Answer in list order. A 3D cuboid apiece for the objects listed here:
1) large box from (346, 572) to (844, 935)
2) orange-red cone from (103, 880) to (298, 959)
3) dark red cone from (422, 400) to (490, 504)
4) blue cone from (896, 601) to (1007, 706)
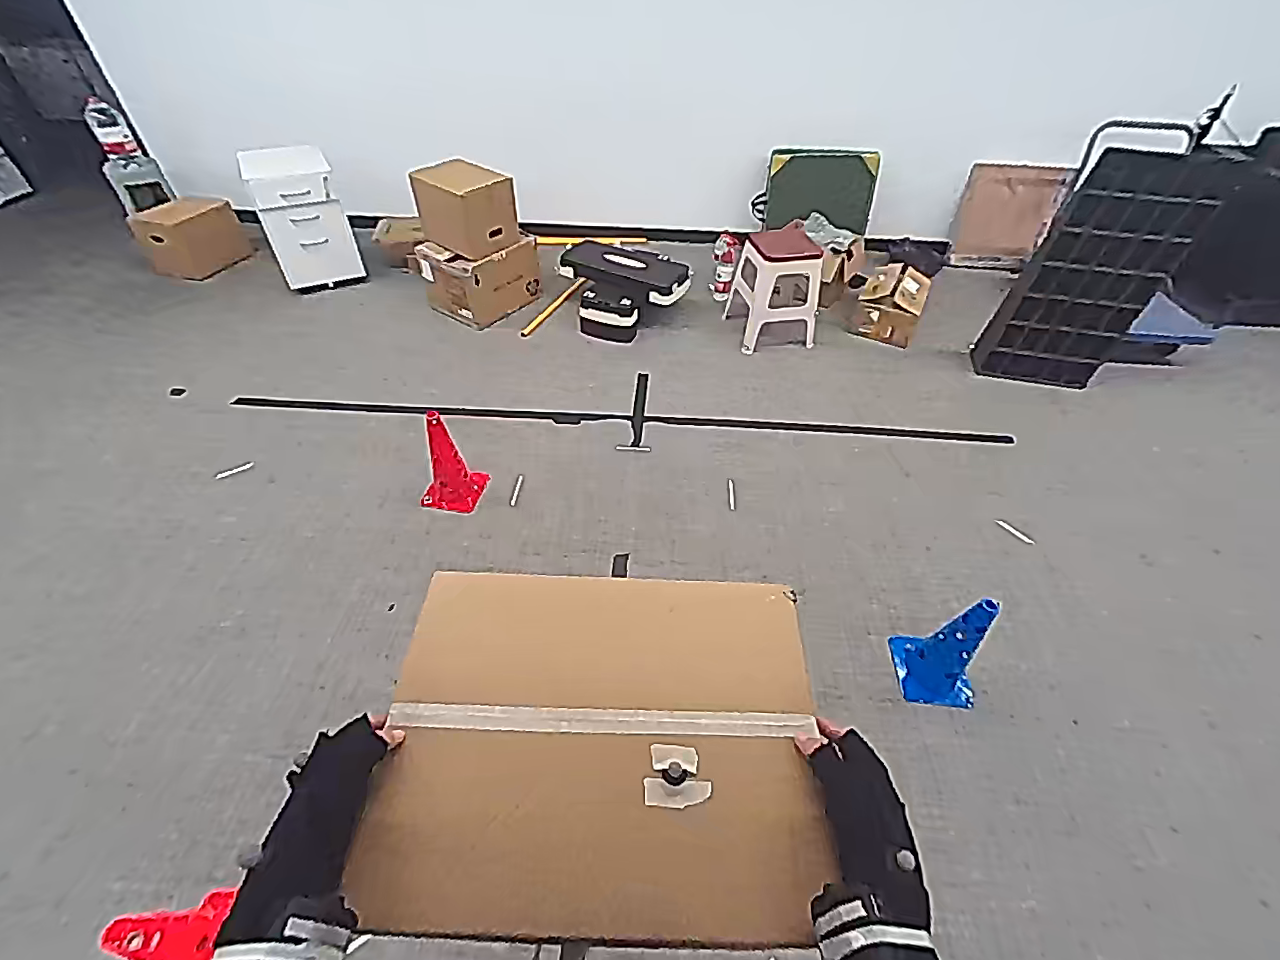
[{"bbox_3d":[-0.038,0.325,0.633,0.408,0.320,0.320,3,49,-1],"label":"large box"},{"bbox_3d":[-0.829,0.827,0.981,0.198,0.360,0.199,2,47,1],"label":"orange-red cone"},{"bbox_3d":[-0.666,-0.109,1.868,0.201,0.394,0.202,9,46,5],"label":"dark red cone"},{"bbox_3d":[0.855,0.437,1.444,0.192,0.380,0.193,7,46,3],"label":"blue cone"}]
